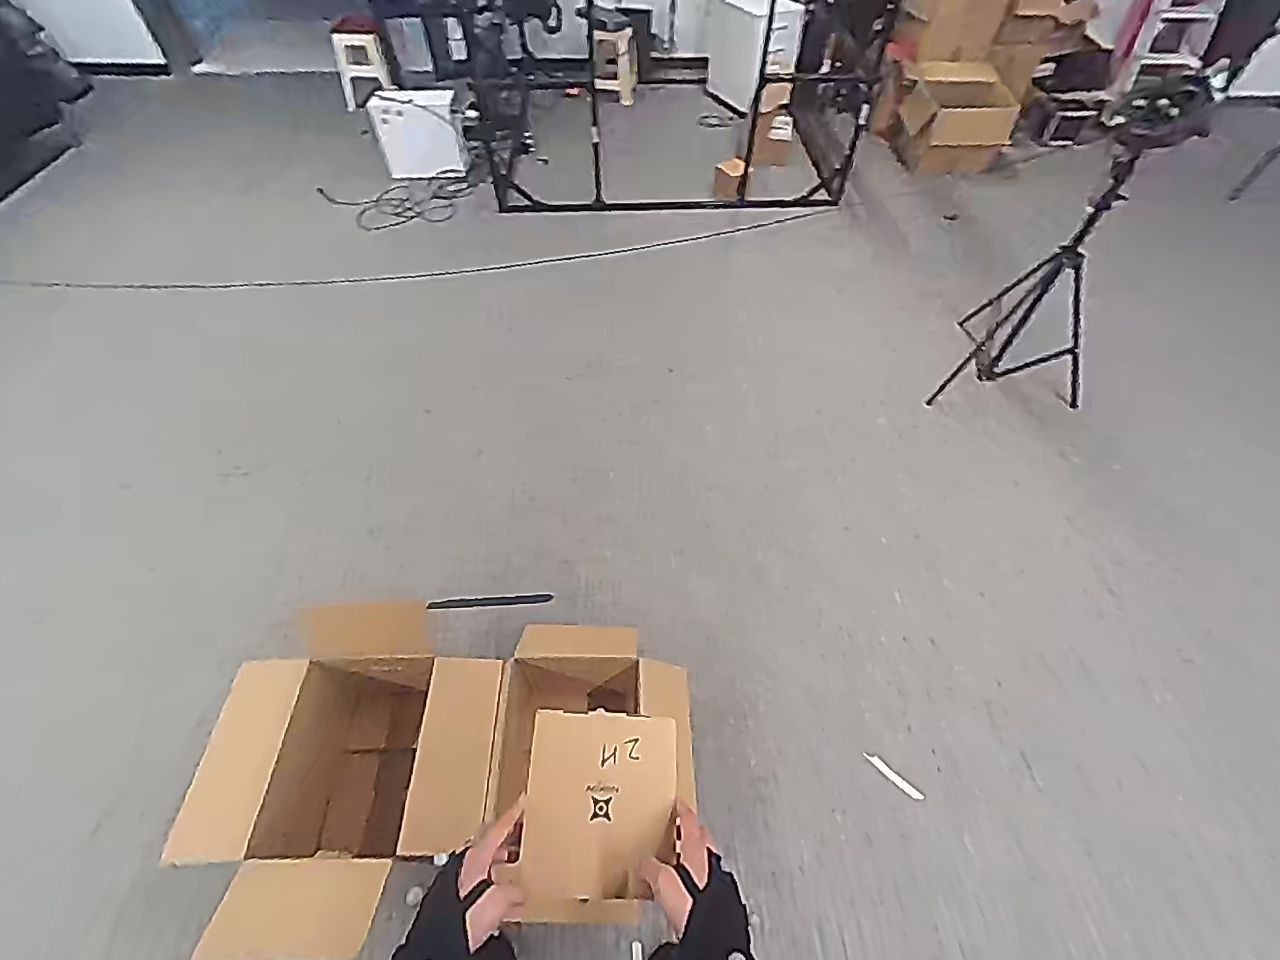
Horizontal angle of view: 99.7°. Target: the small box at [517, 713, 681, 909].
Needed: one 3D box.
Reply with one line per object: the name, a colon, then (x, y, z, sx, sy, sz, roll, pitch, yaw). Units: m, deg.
small box: (-0.048, 0.389, 0.652, 0.168, 0.176, 0.179, 6, 60, -6)
